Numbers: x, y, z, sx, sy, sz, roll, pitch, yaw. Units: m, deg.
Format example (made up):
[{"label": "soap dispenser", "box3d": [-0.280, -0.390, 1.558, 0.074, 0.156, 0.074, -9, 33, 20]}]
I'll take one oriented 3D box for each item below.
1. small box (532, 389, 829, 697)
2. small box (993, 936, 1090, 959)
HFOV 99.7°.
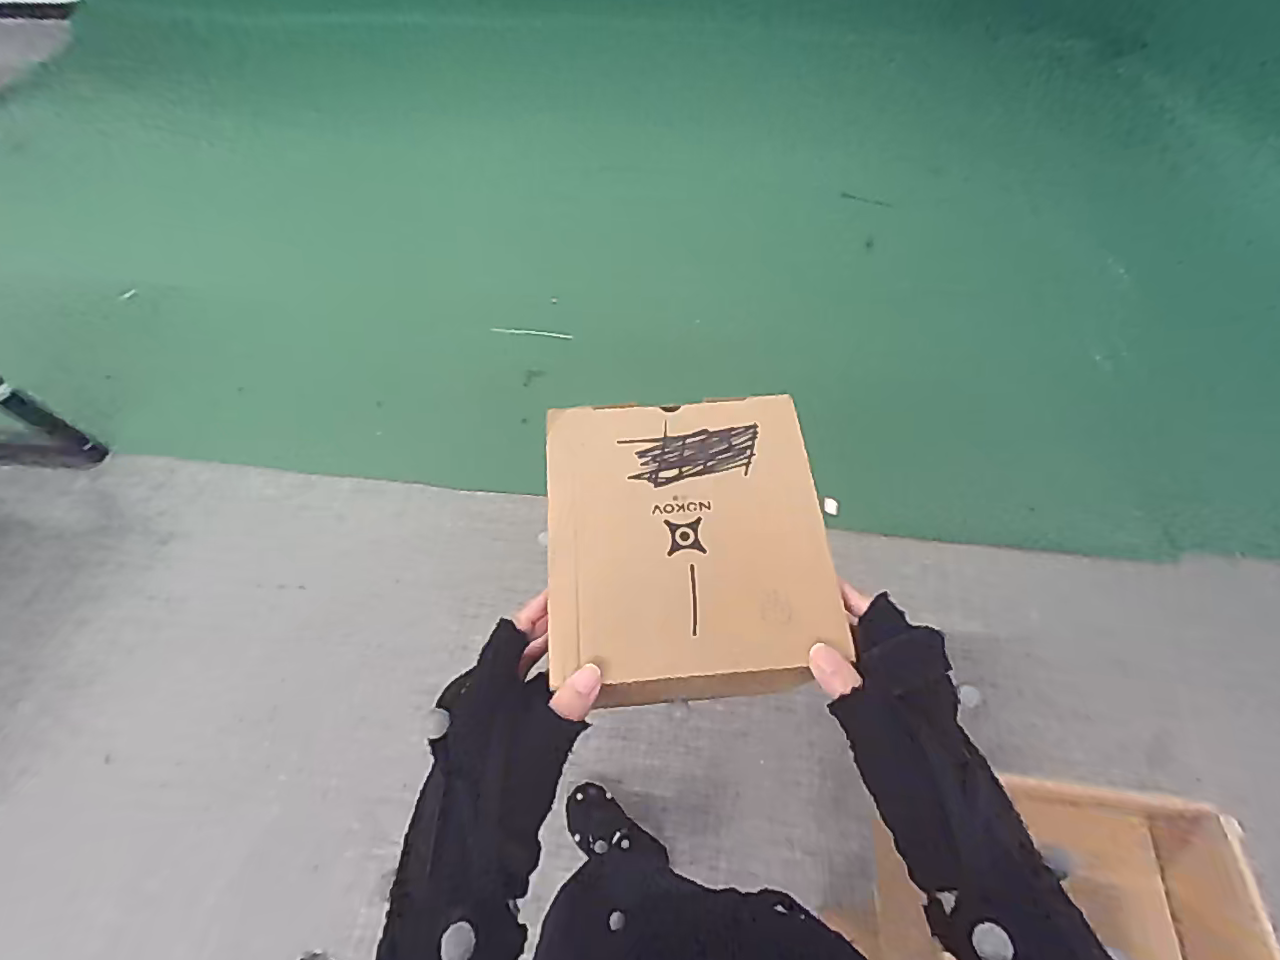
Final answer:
[{"label": "small box", "box3d": [0.016, 0.056, 0.400, 0.168, 0.176, 0.179, -5, 65, -2]}, {"label": "small box", "box3d": [0.552, 0.671, 0.630, 0.179, 0.176, 0.168, 13, 60, 8]}]
